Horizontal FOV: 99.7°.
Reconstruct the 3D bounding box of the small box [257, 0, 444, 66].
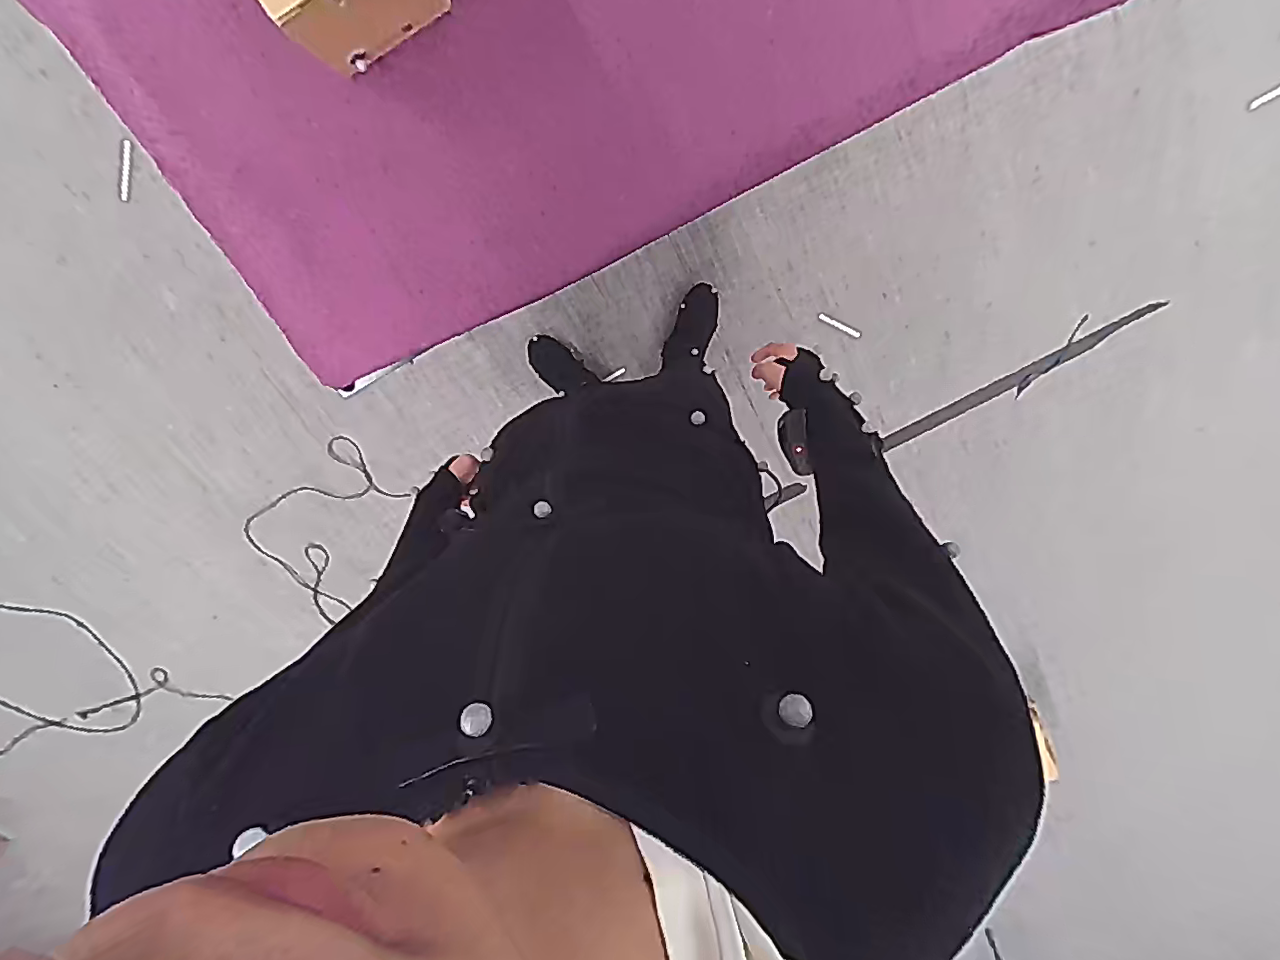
[{"bbox_3d":[-0.339,-0.584,0.573,0.168,0.176,0.179,-29,110,6],"label":"small box"}]
